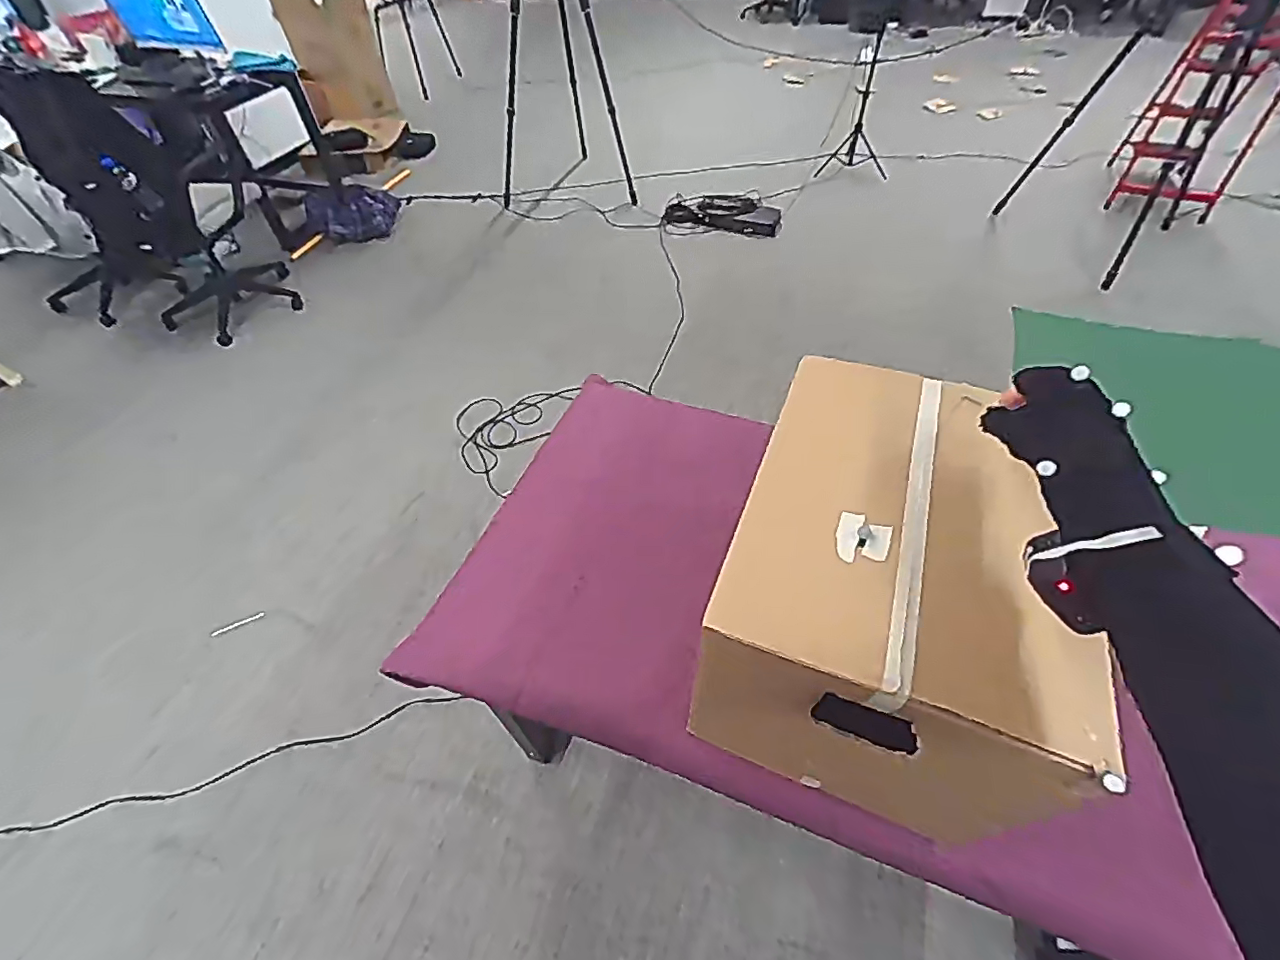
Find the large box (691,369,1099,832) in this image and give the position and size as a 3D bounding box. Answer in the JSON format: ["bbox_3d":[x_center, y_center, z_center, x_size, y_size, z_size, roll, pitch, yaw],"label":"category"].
[{"bbox_3d":[0.276,0.133,0.666,0.320,0.320,0.408,17,53,16],"label":"large box"}]
